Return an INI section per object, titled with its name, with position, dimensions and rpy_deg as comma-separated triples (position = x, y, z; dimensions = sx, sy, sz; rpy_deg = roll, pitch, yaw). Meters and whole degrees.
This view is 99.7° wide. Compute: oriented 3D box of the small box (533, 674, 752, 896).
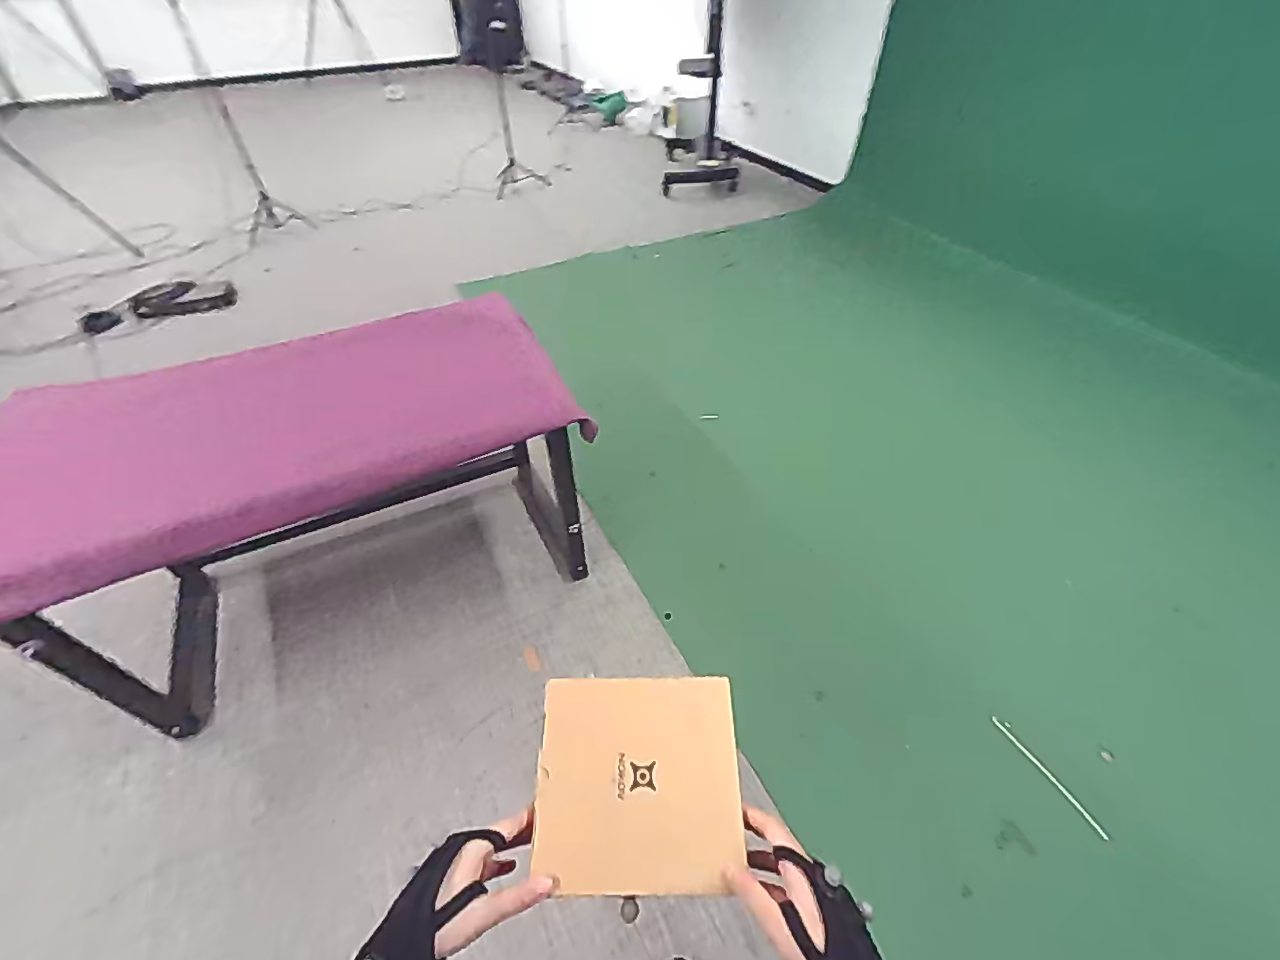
[small box]
position = 0.003, 0.300, 0.533
dimensions = 0.179, 0.176, 0.168
rpy_deg = -4, 54, 2
